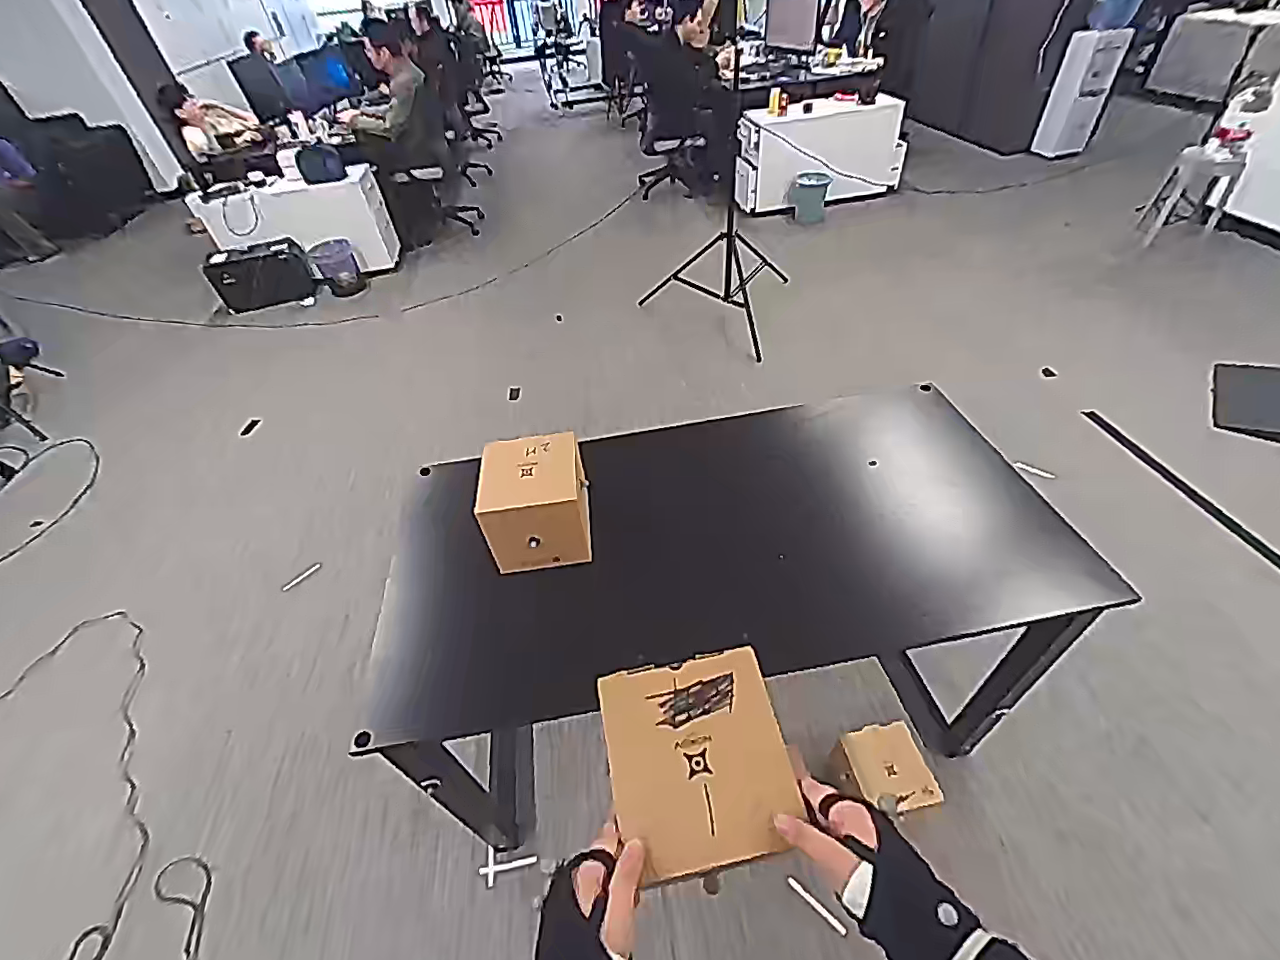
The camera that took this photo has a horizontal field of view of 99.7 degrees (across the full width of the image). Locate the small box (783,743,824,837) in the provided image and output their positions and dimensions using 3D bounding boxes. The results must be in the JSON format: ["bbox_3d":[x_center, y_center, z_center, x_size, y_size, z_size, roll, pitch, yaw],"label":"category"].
[{"bbox_3d":[0.303,0.740,1.255,0.179,0.176,0.168,-11,44,-3],"label":"small box"}]

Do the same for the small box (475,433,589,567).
[{"bbox_3d":[-0.186,0.042,0.979,0.168,0.176,0.179,-8,44,-1],"label":"small box"}]

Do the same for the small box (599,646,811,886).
[{"bbox_3d":[0.054,0.301,0.567,0.168,0.176,0.179,-10,52,-4],"label":"small box"}]

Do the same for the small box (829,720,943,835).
[{"bbox_3d":[0.561,0.696,1.264,0.168,0.176,0.179,-11,44,-3],"label":"small box"}]
